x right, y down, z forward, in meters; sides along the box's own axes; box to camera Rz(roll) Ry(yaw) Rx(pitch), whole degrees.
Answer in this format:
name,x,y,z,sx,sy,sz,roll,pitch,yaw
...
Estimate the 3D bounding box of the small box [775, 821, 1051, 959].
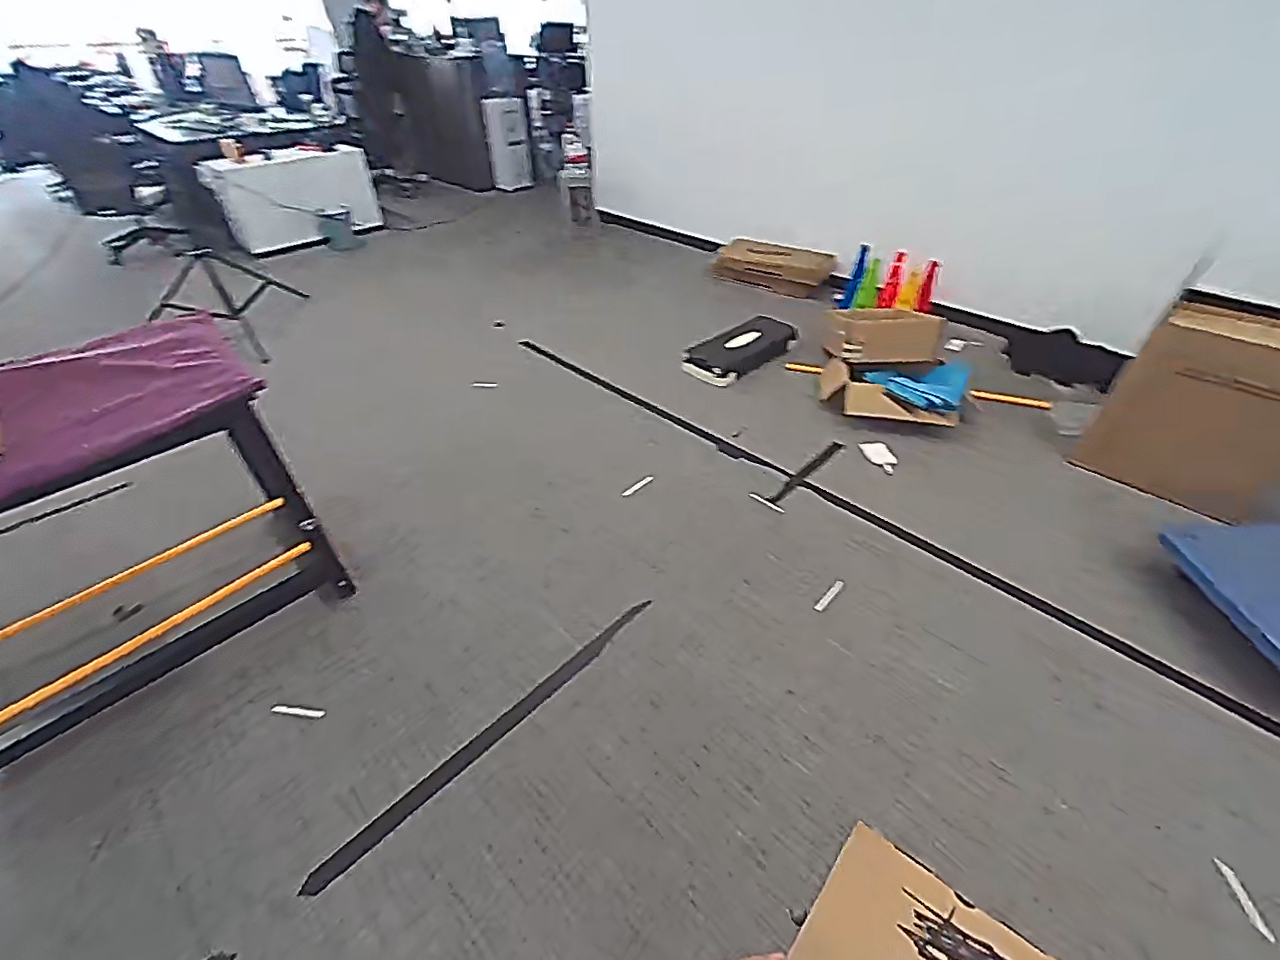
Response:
name,x,y,z,sx,sy,sz,roll,pitch,yaw
small box,0.175,0.406,0.382,0.168,0.176,0.179,23,33,35
